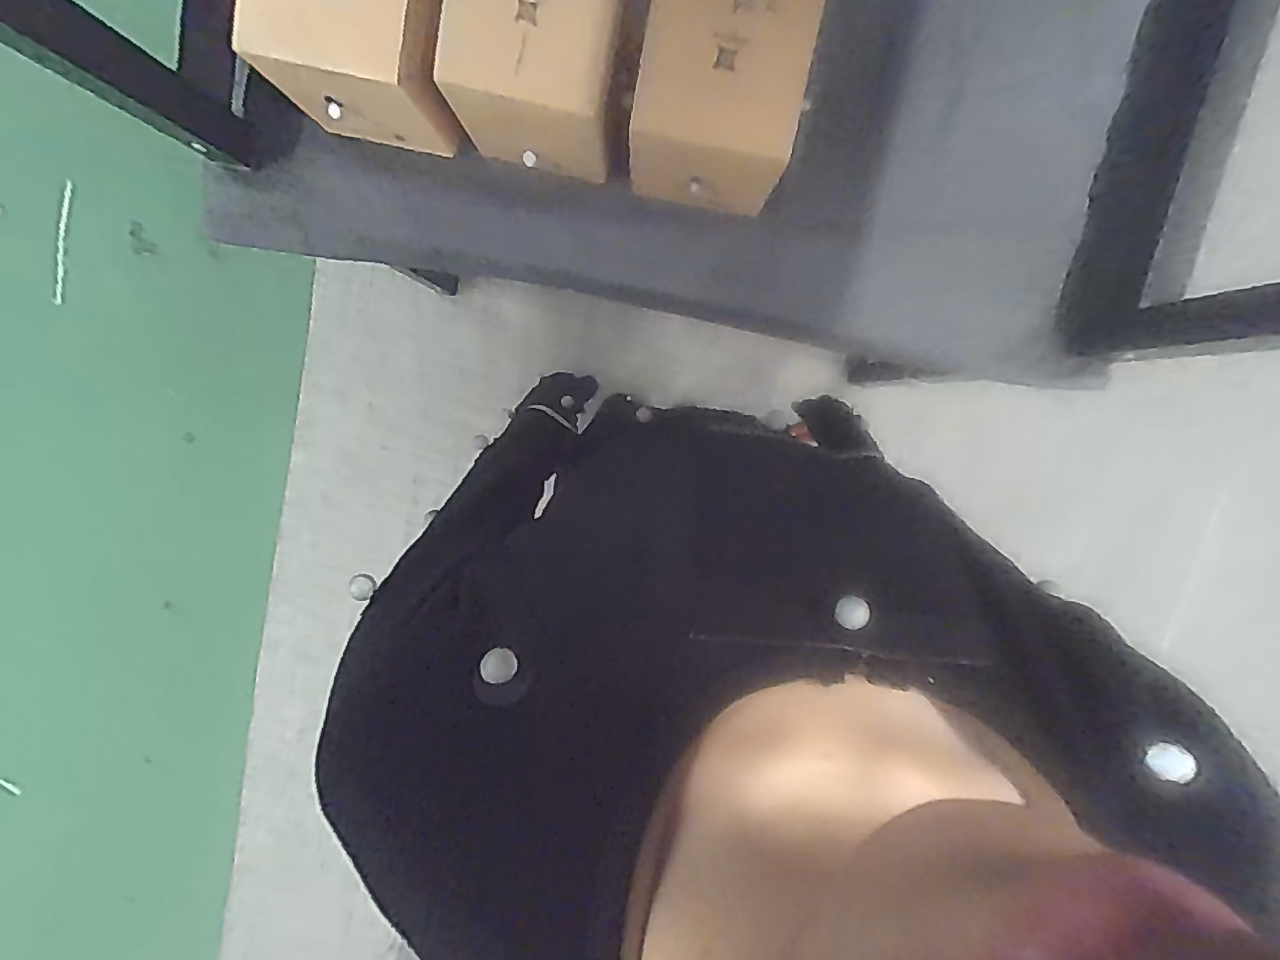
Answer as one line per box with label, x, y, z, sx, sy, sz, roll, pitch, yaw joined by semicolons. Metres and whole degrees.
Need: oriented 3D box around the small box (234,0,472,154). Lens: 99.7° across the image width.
small box;-0.299;-0.497;0.595;0.168;0.176;0.179;11;97;-2
